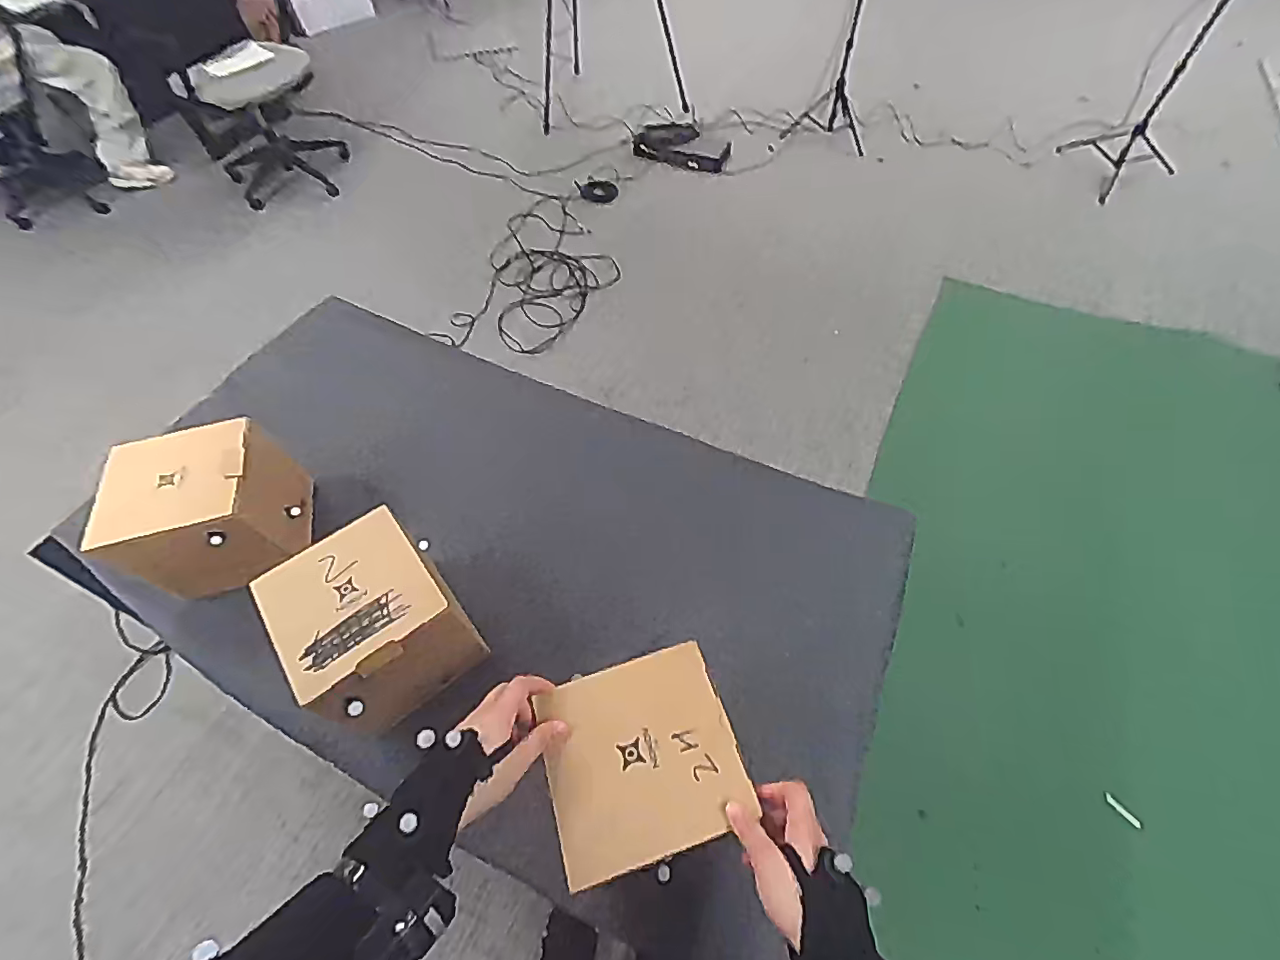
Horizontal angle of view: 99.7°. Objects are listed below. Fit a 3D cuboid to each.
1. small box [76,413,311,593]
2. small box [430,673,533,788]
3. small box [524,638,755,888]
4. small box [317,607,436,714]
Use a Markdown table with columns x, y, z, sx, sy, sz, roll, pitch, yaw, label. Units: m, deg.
| x | y | z | sx | sy | sz | roll | pitch | yaw | label |
| --- | --- | --- | --- | --- | --- | --- | --- | --- | --- |
| -0.598 | 0.038 | 0.753 | 0.179 | 0.176 | 0.168 | -15 | 57 | -8 | small box |
| -0.345 | 0.585 | 1.252 | 0.168 | 0.176 | 0.179 | -40 | 62 | -22 | small box |
| -0.002 | 0.290 | 0.553 | 0.179 | 0.176 | 0.168 | -16 | 56 | -8 | small box |
| -0.650 | 0.455 | 1.351 | 0.179 | 0.176 | 0.168 | 32 | 64 | 22 | small box |
